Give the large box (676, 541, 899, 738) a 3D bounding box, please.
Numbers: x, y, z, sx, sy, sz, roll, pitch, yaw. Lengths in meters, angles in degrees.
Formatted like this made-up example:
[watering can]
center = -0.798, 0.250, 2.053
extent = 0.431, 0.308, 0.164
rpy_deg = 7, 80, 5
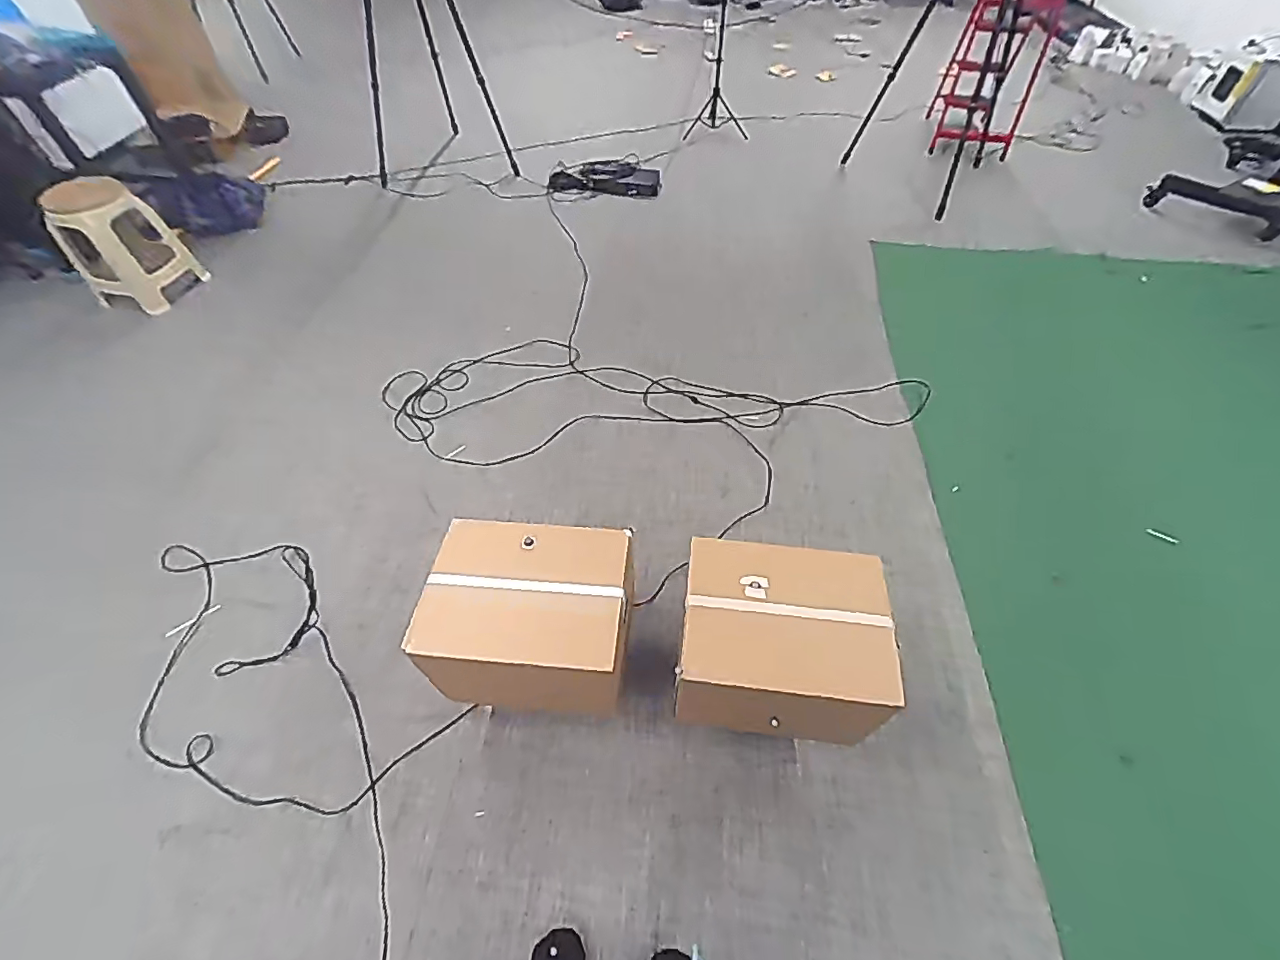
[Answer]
[large box]
center = 0.297, 0.360, 1.205
extent = 0.408, 0.320, 0.320
rpy_deg = 6, 52, 5
